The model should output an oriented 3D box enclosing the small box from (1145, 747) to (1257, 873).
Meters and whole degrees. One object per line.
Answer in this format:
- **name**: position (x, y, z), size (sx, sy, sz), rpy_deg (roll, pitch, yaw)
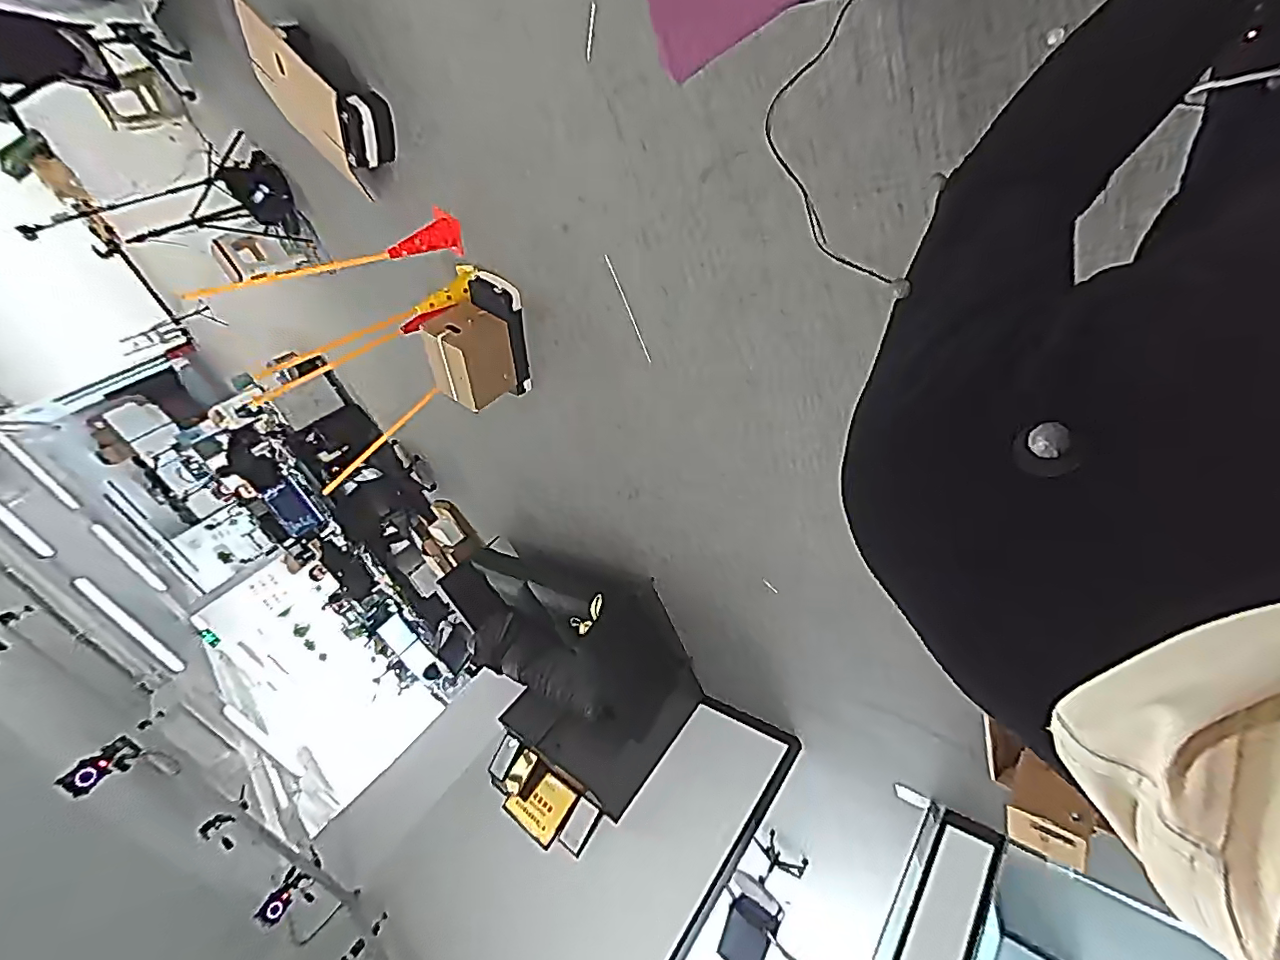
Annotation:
- **small box**: position (1.373, 0.797, 1.326), size (0.179, 0.176, 0.168), rpy_deg (9, 131, 47)
